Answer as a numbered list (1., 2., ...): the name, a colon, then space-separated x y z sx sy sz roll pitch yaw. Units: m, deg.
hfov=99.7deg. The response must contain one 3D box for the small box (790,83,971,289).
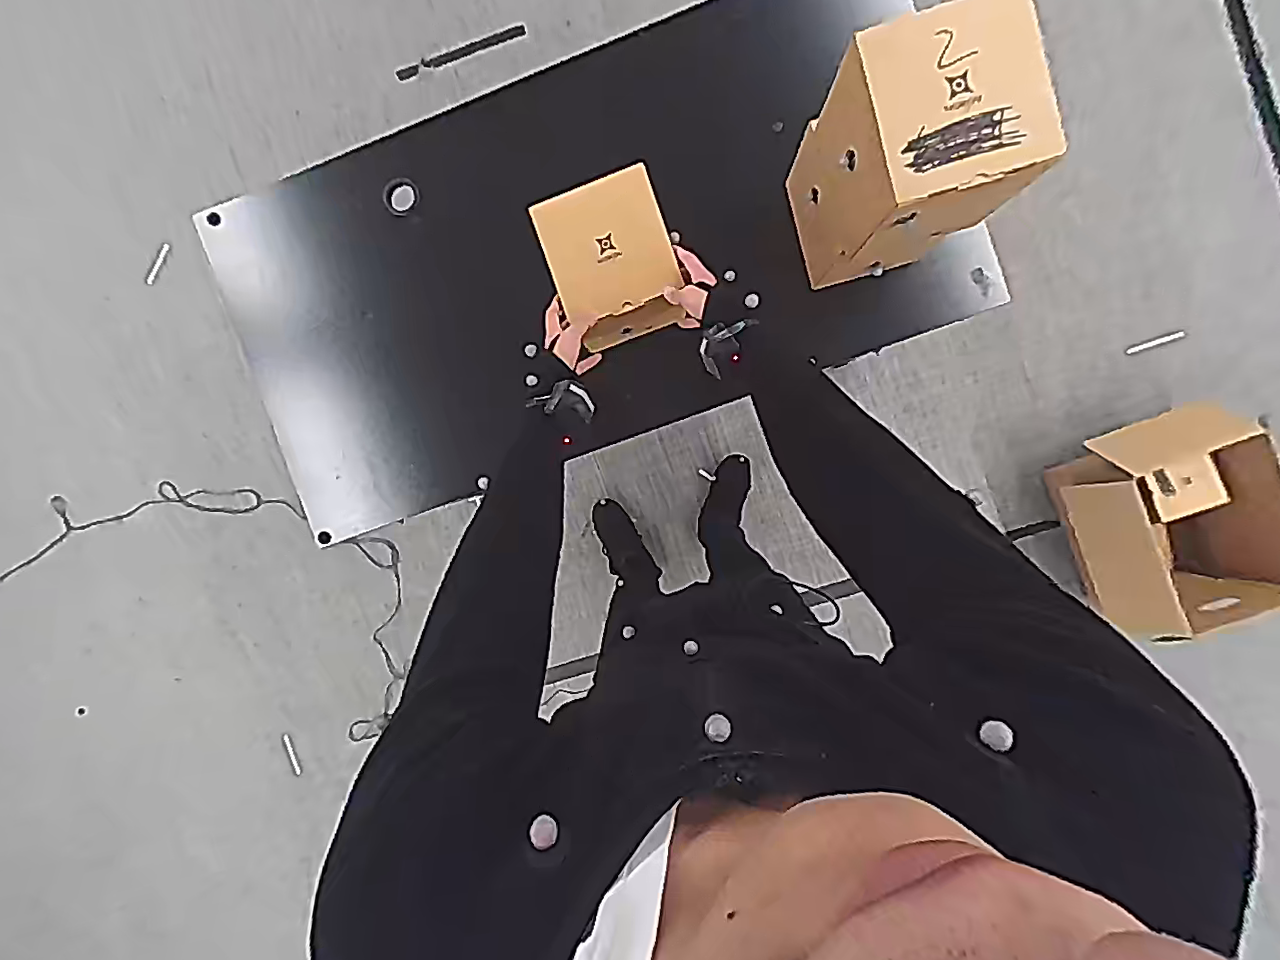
1. small box: 0.322 -0.396 0.759 0.168 0.176 0.179 -14 92 6

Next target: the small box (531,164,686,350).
1. small box: -0.039 -0.310 0.791 0.168 0.176 0.179 -20 92 5
